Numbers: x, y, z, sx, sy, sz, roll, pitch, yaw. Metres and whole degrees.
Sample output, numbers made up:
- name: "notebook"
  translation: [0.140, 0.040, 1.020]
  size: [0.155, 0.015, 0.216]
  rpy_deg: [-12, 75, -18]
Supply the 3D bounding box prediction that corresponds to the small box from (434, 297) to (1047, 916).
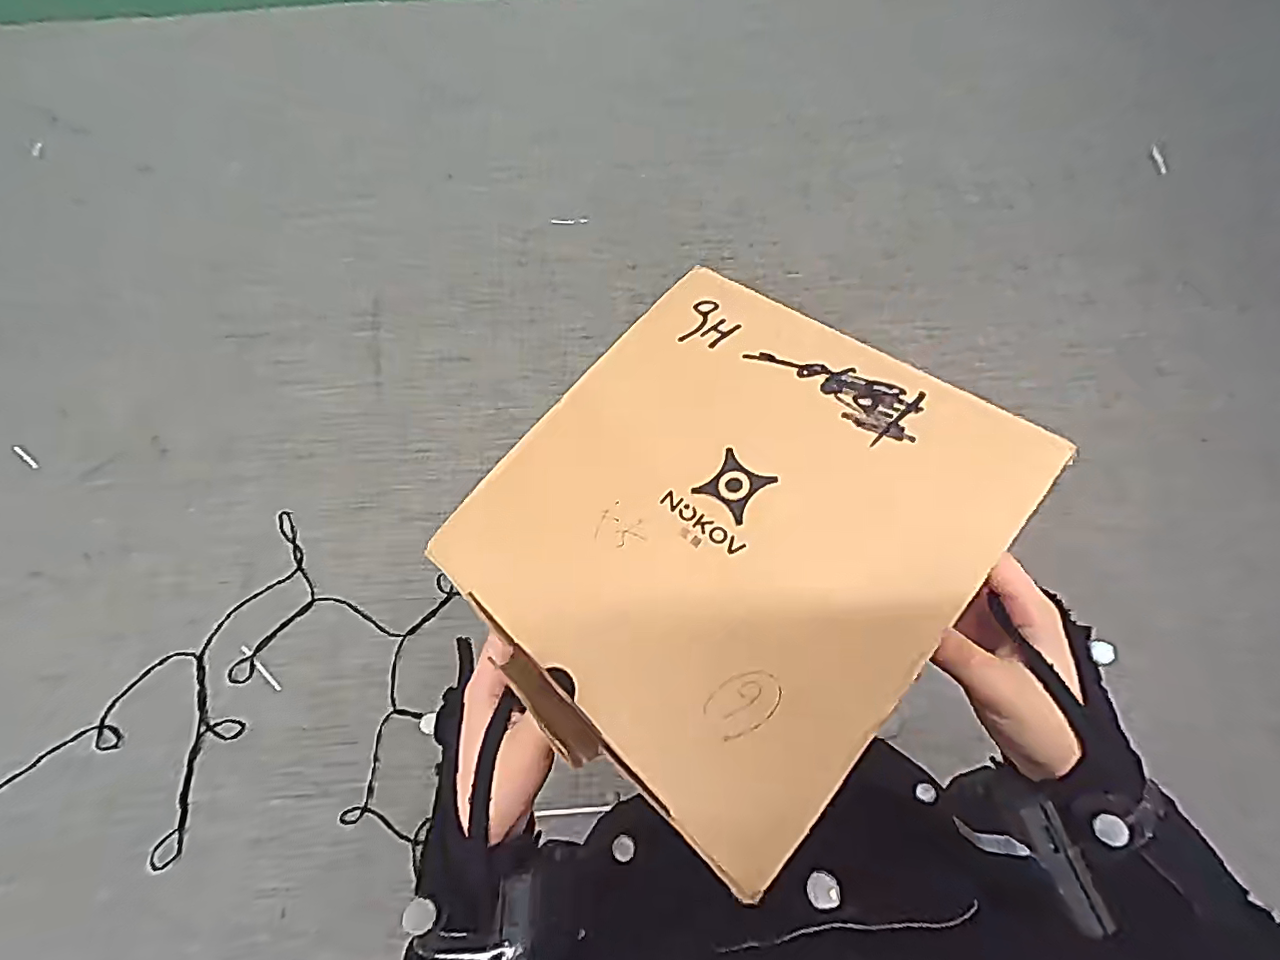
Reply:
- name: "small box"
  translation: [0.045, 0.053, 0.273]
  size: [0.168, 0.176, 0.179]
  rpy_deg: [36, 79, 26]
